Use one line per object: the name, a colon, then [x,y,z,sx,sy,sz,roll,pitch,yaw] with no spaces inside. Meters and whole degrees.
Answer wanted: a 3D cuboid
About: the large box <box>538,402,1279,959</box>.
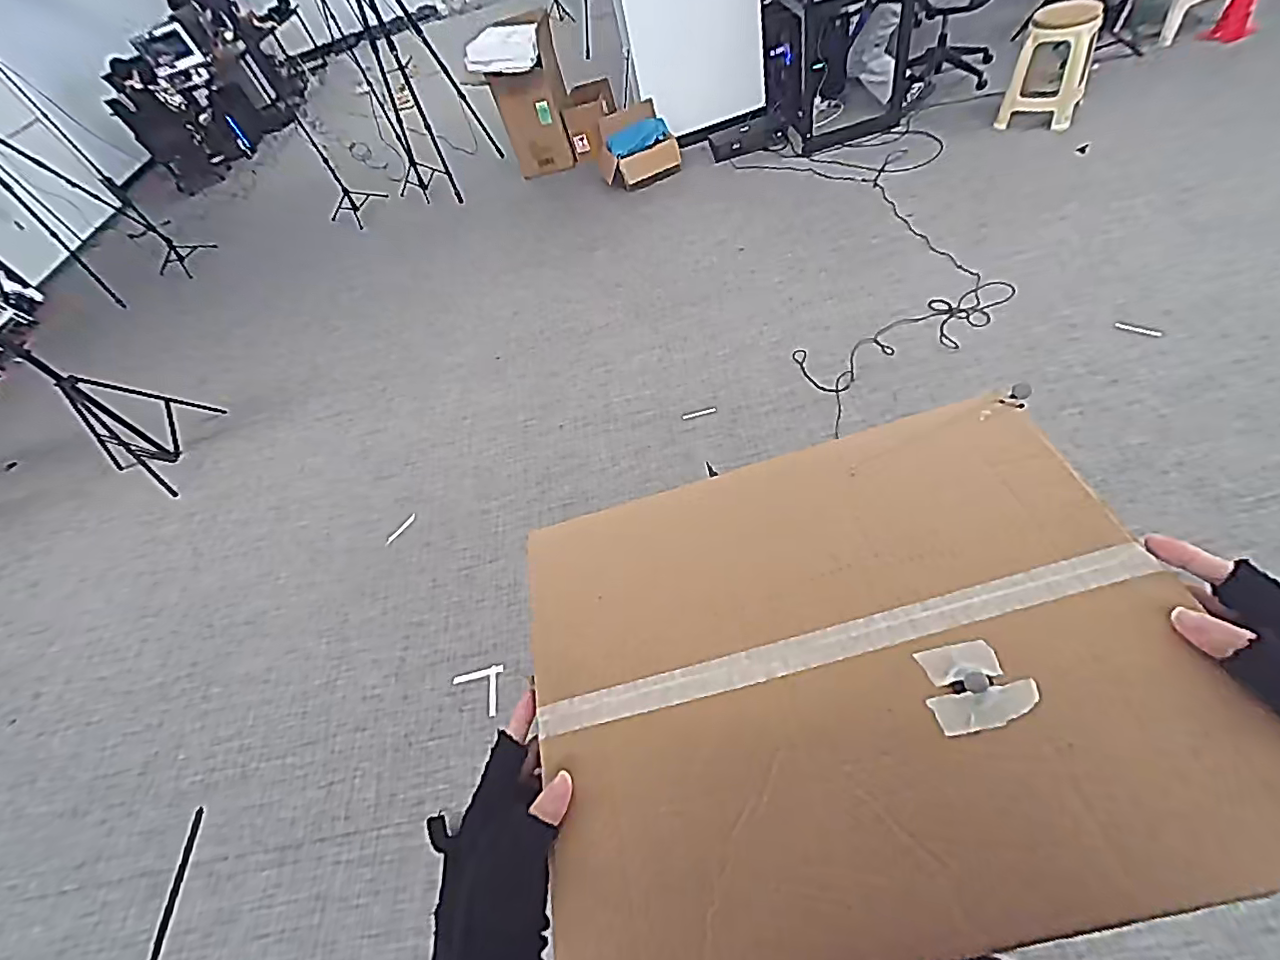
large box: [0.162,0.195,0.484,0.408,0.320,0.320,-17,53,4]
